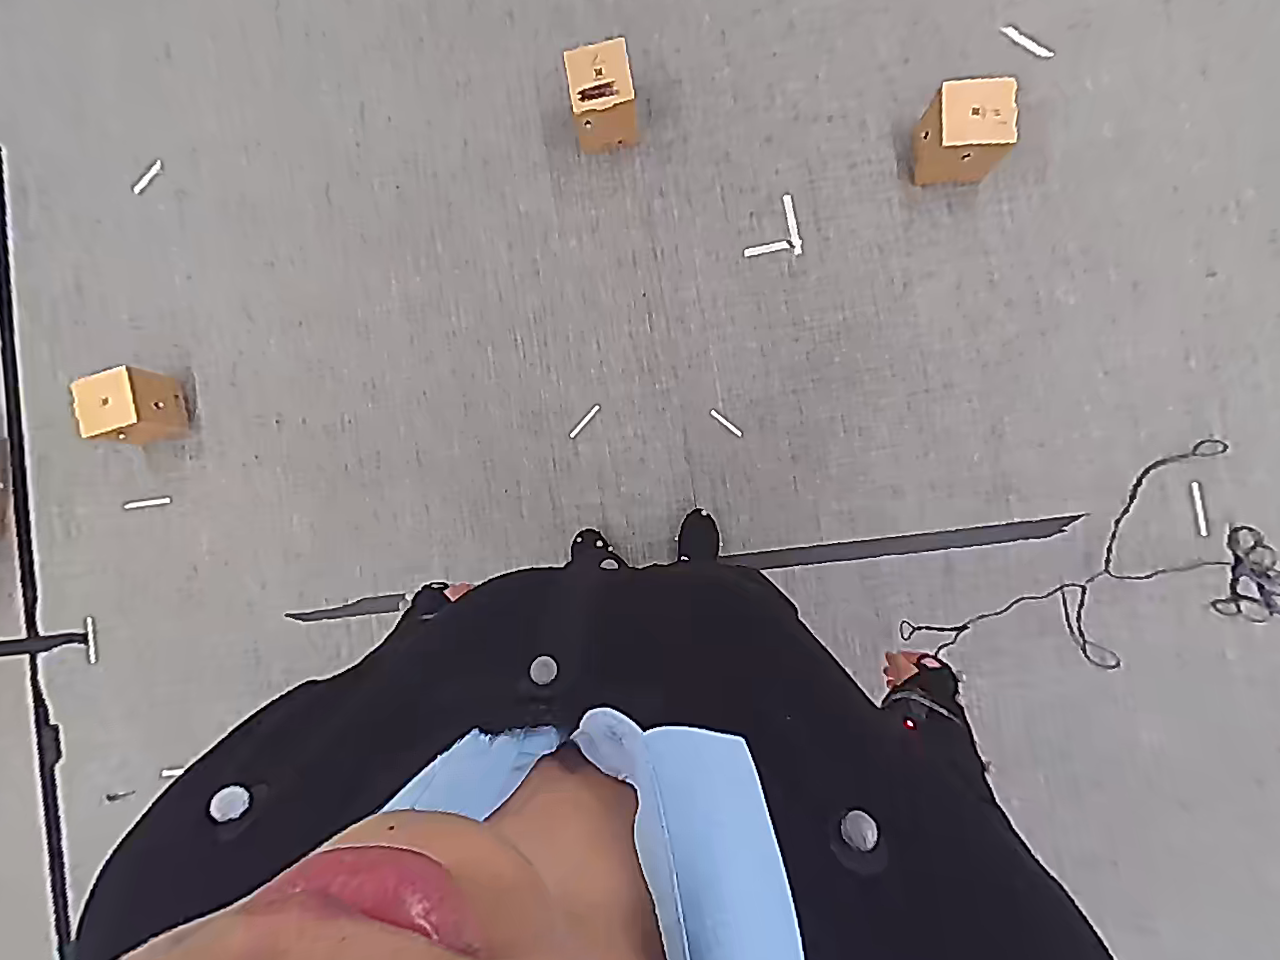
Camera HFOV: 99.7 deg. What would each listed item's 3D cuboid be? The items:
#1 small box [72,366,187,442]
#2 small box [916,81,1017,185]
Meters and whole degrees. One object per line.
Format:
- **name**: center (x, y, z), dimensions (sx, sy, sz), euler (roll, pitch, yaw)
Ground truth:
- **small box**: center (-1.459, -0.214, 1.562), dimensions (0.179, 0.176, 0.168), euler (-15, 86, 4)
- **small box**: center (0.834, -0.887, 1.396), dimensions (0.179, 0.176, 0.168), euler (1, 88, 5)
